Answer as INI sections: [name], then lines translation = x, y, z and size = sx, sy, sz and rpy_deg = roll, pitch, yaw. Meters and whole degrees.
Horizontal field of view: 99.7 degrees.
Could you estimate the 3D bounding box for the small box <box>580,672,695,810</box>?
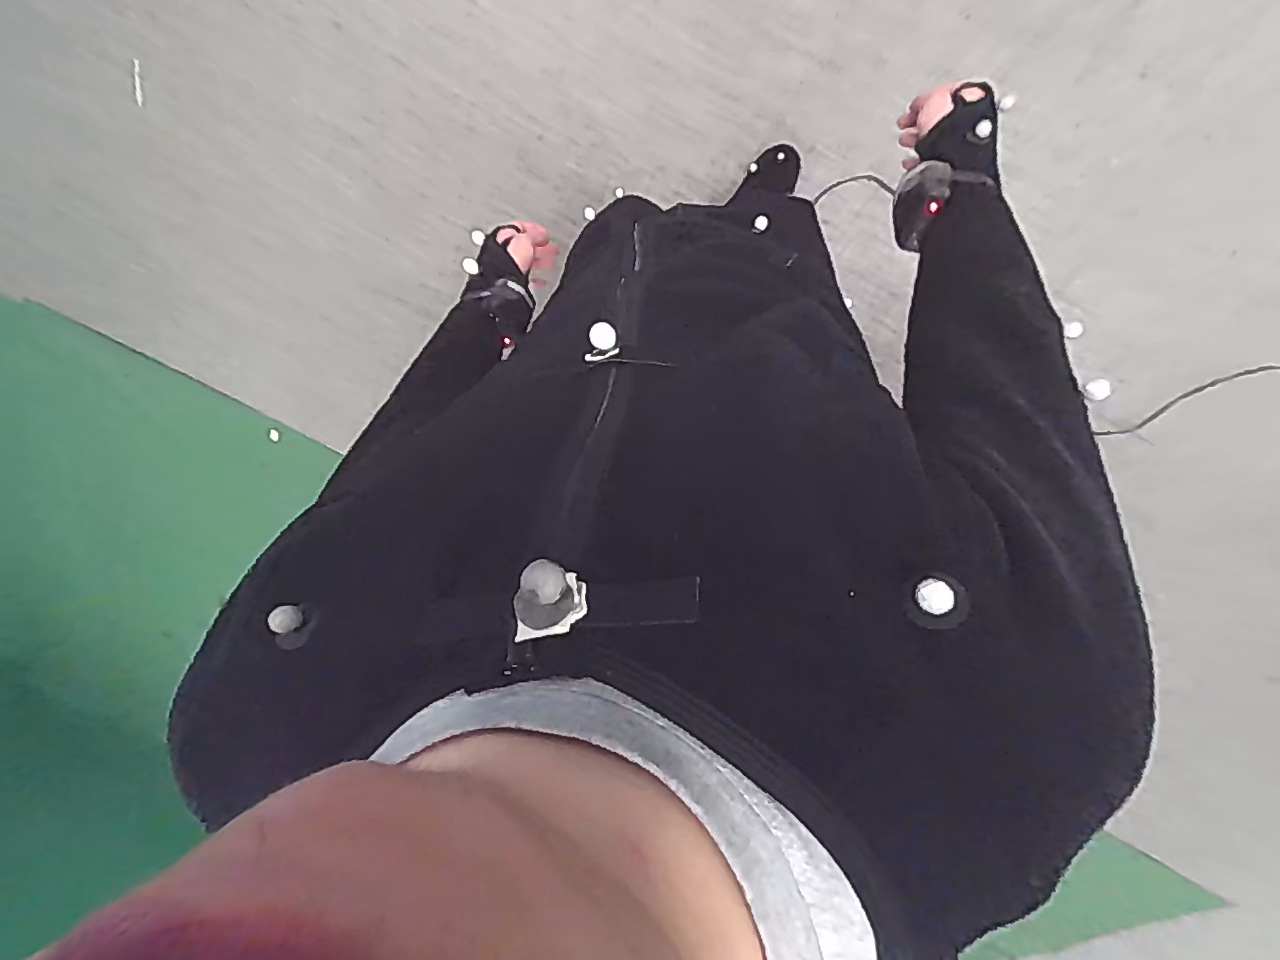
[small box]
translation = 0.000, 0.526, 1.101
size = 0.168, 0.176, 0.179
rpy_deg = 27, 125, -3
